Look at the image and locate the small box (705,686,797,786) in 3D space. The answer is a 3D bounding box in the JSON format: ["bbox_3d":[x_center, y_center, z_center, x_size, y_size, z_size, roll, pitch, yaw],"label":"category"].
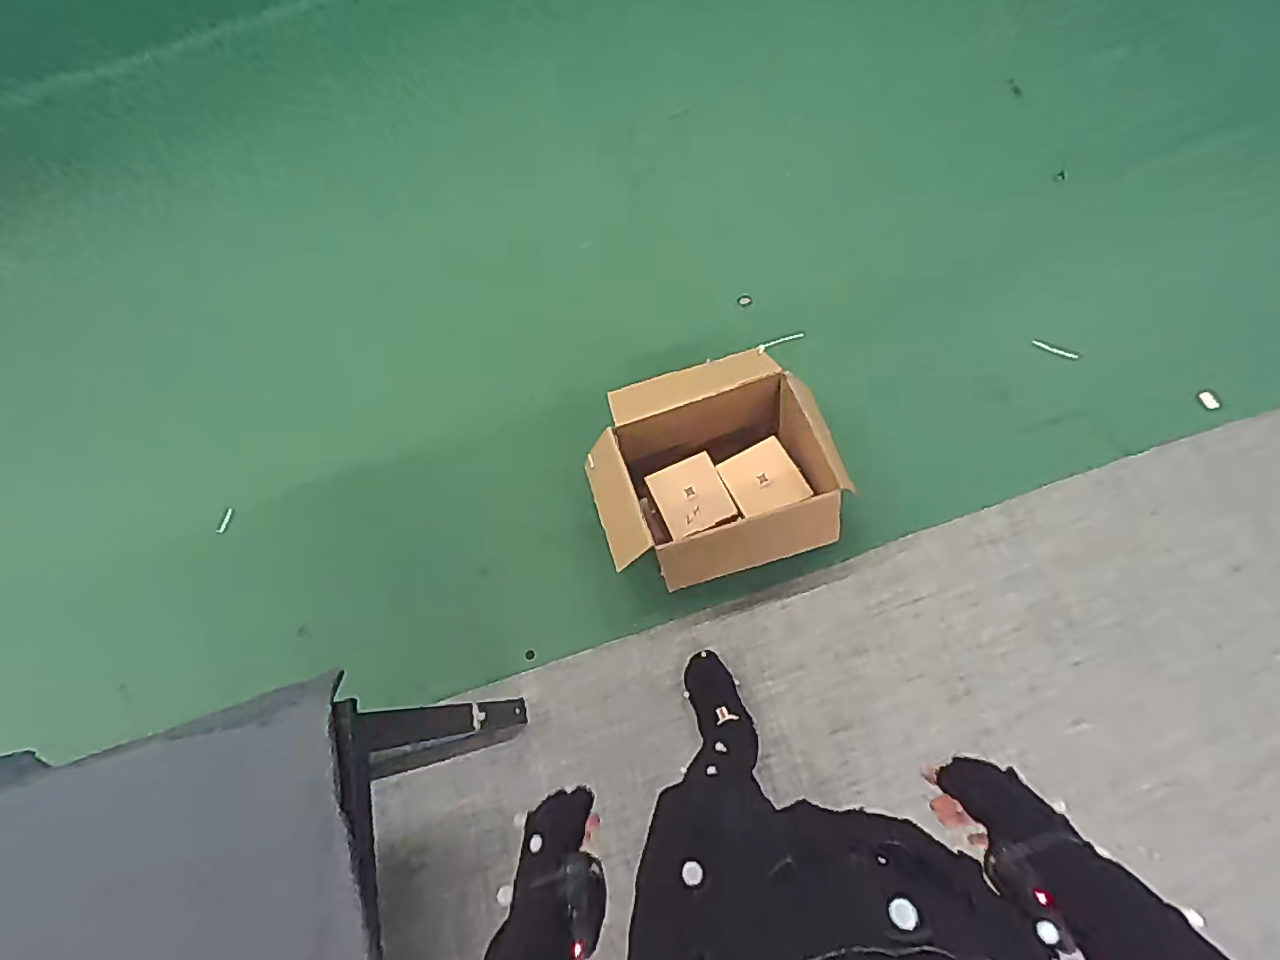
[{"bbox_3d":[0.238,0.559,1.197,0.168,0.176,0.179,-4,72,0],"label":"small box"}]
